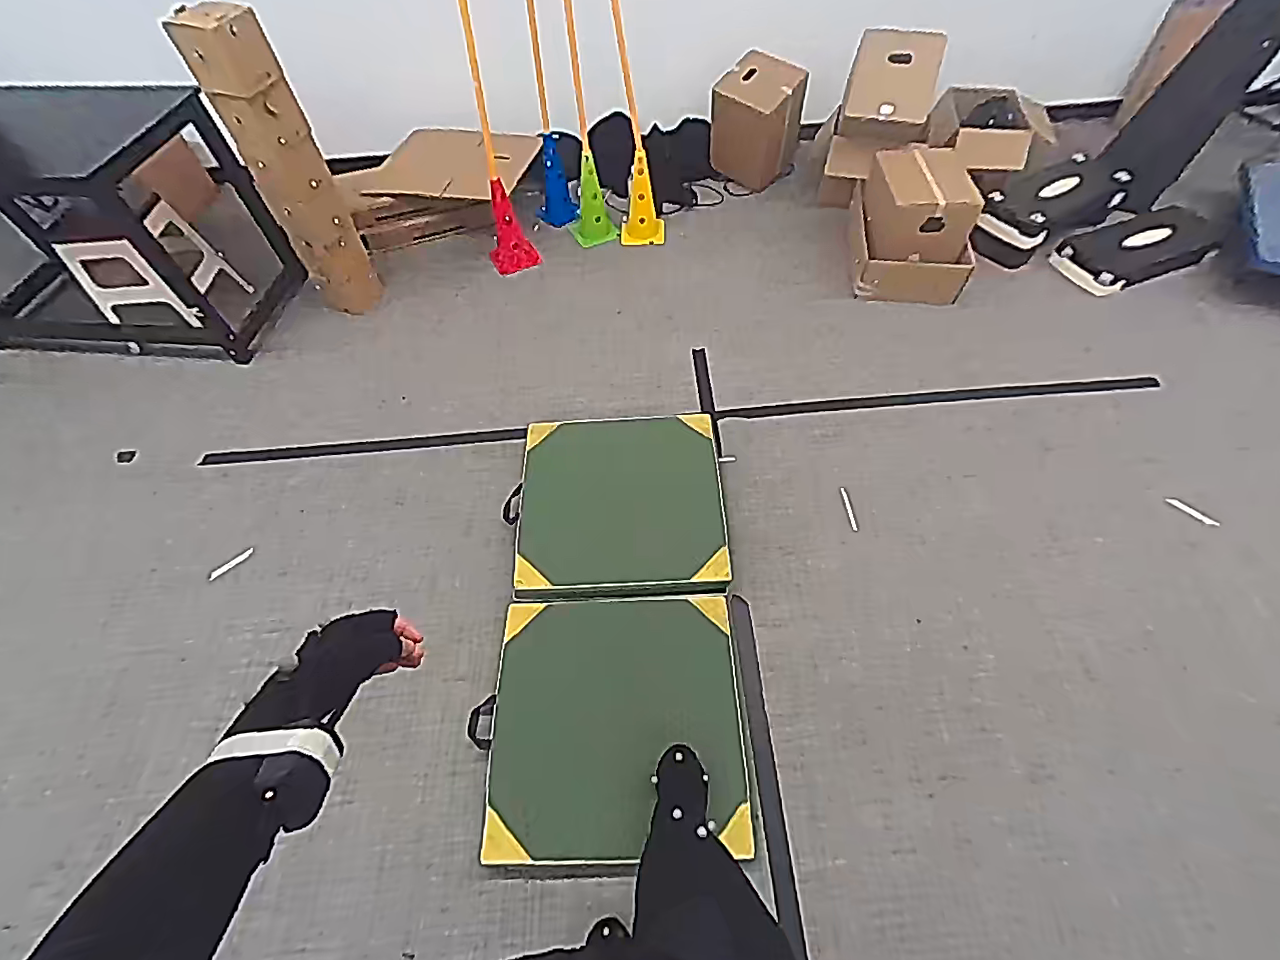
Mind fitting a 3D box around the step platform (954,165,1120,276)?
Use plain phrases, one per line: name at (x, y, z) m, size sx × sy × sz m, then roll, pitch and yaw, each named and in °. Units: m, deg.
step platform at (1.741, -1.148, 2.372) m, size 0.684 × 0.204 × 0.286 m, roll -29°, pitch 59°, yaw -16°
